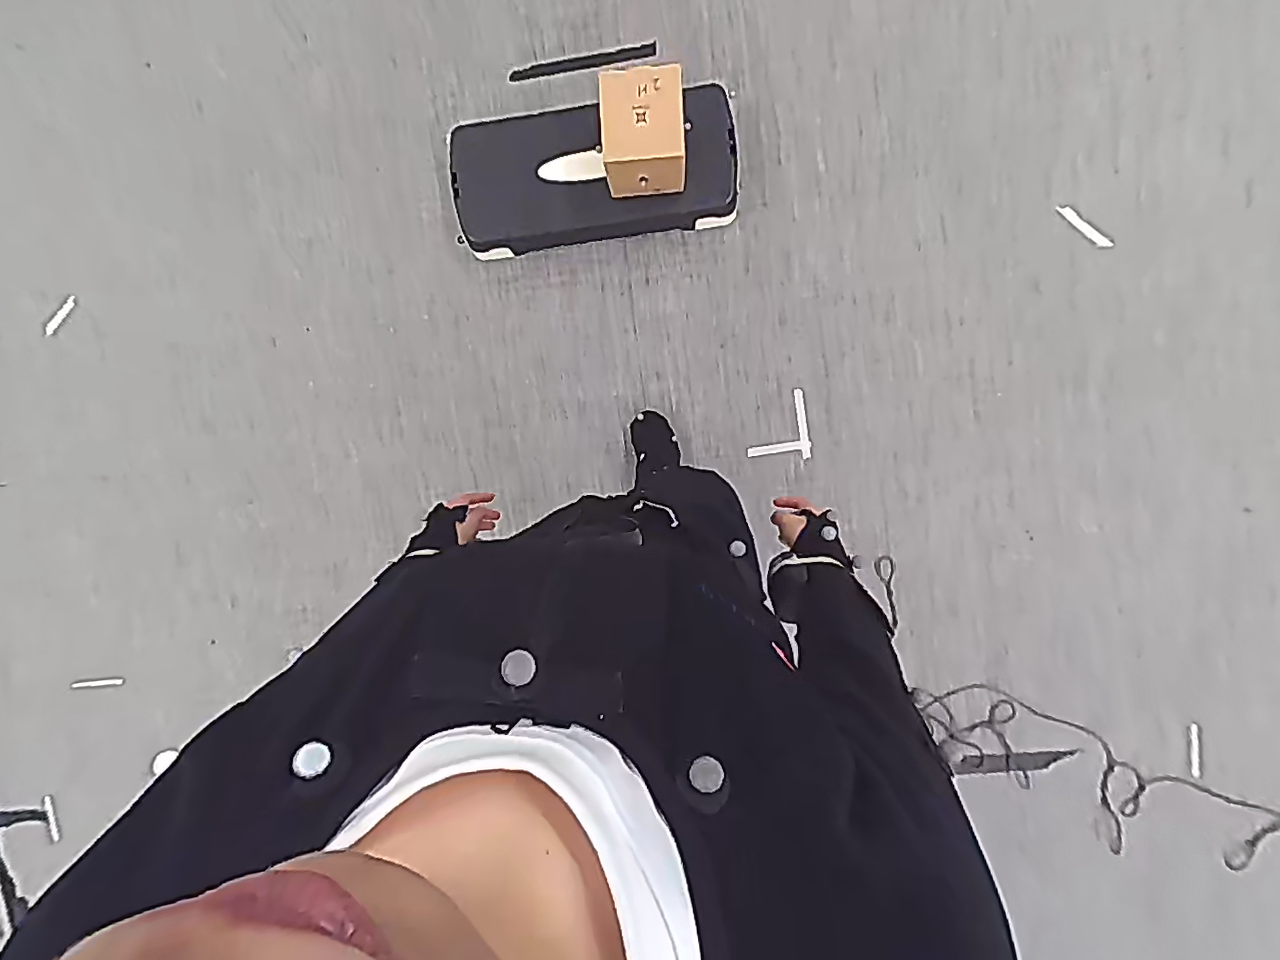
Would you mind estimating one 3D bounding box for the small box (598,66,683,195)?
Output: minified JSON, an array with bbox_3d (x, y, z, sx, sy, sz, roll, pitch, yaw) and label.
[{"bbox_3d":[0.006,-0.725,1.145,0.168,0.176,0.179,-2,94,3],"label":"small box"}]
